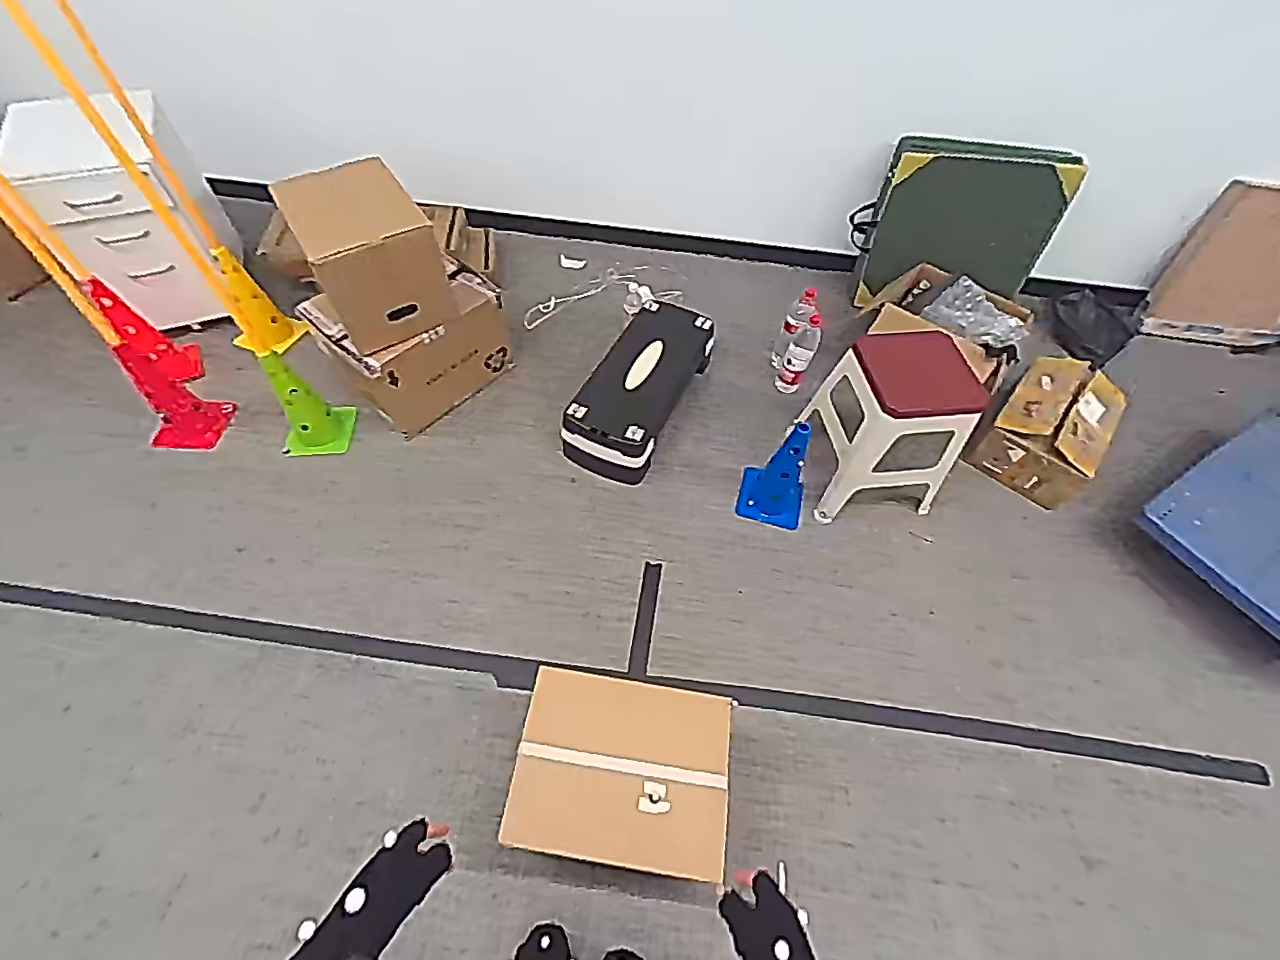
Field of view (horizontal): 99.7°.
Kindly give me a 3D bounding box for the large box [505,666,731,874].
[{"bbox_3d":[-0.039,0.624,1.162,0.408,0.320,0.320,9,57,1],"label":"large box"}]
